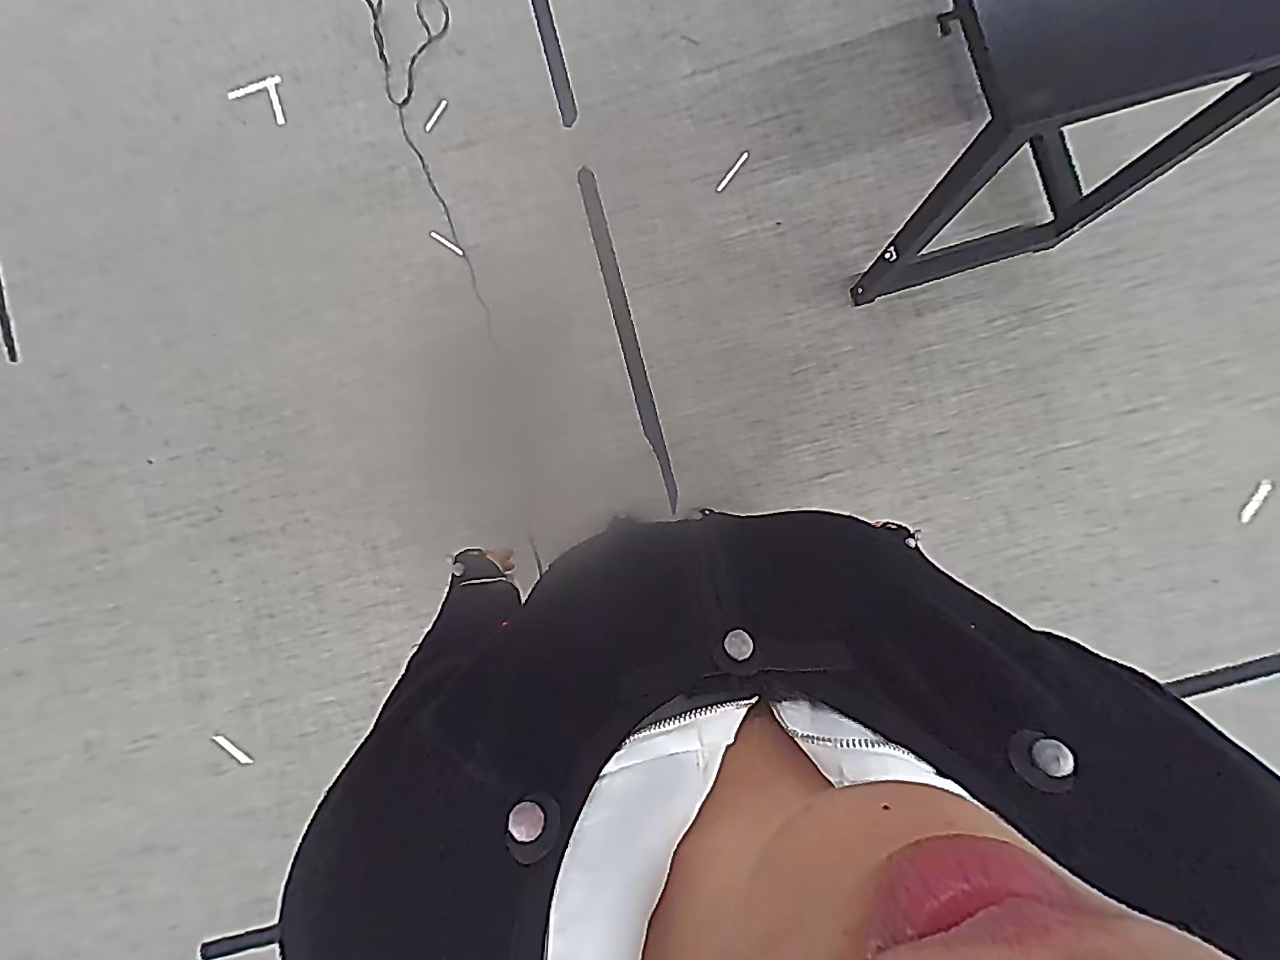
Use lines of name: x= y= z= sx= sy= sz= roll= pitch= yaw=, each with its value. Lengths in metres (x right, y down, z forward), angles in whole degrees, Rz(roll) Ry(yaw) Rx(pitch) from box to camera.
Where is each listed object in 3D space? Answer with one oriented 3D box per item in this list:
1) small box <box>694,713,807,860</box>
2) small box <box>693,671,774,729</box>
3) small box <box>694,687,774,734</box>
small box: x=0.209 y=0.591 z=1.062 sx=0.168 sy=0.176 sz=0.179 roll=-18 pitch=85 yaw=3
small box: x=0.240 y=0.611 z=1.389 sx=0.179 sy=0.176 sz=0.168 roll=-16 pitch=86 yaw=2
small box: x=0.226 y=0.600 z=1.226 sx=0.168 sy=0.176 sz=0.179 roll=-18 pitch=86 yaw=3
